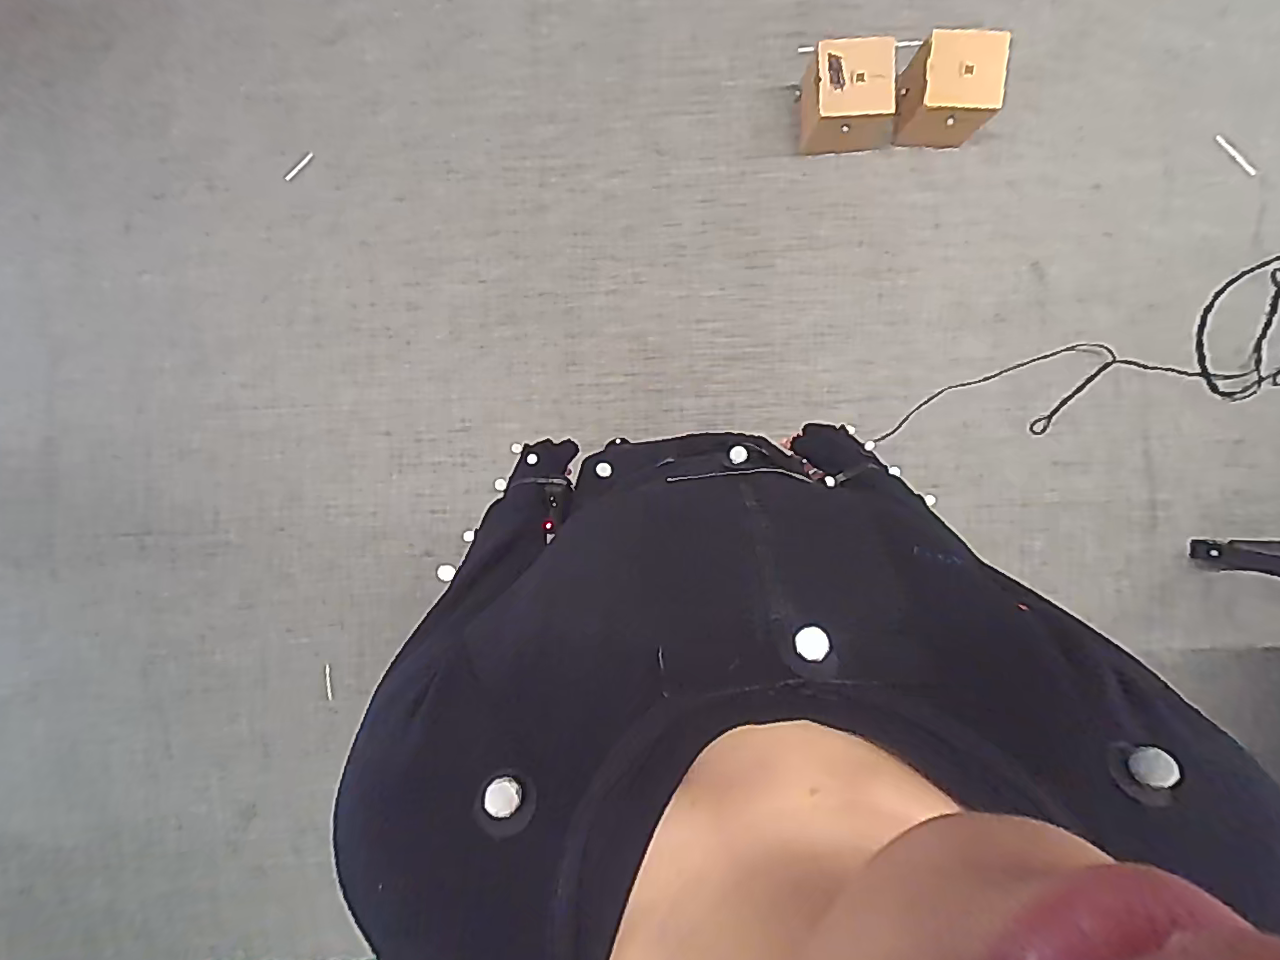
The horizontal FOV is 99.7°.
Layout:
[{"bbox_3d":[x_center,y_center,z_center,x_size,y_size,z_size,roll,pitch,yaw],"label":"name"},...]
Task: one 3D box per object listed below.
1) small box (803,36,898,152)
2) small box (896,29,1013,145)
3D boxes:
[{"bbox_3d":[0.495,-0.914,1.296,0.179,0.176,0.168,-2,95,2],"label":"small box"},{"bbox_3d":[0.740,-0.926,1.287,0.179,0.176,0.168,3,96,3],"label":"small box"}]
